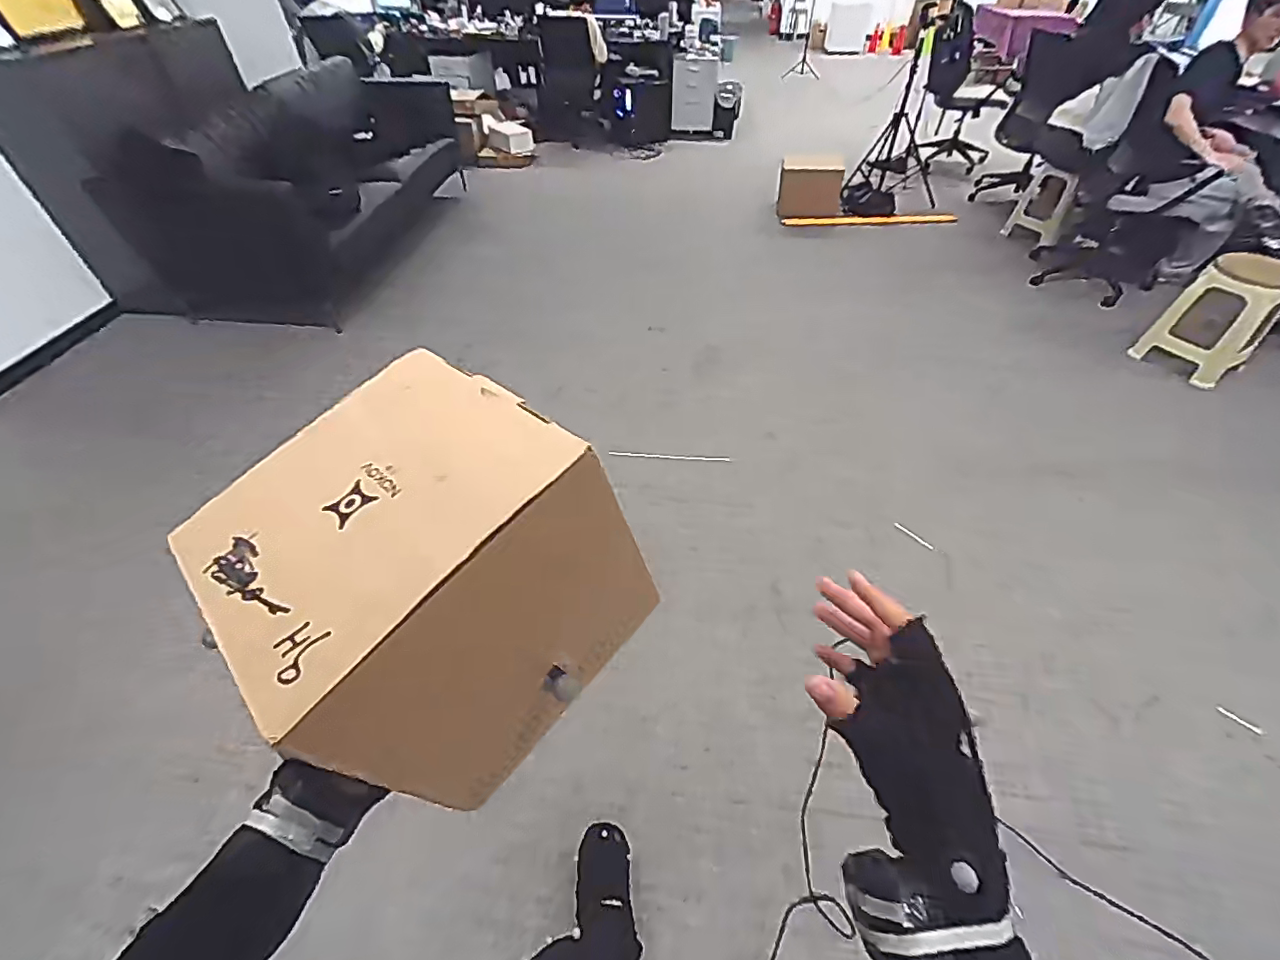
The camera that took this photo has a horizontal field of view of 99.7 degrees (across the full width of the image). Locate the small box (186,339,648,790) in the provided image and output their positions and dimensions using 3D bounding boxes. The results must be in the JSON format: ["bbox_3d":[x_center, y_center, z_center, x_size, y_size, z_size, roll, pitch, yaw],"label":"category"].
[{"bbox_3d":[-0.112,0.050,0.334,0.168,0.176,0.179,32,66,34],"label":"small box"}]
